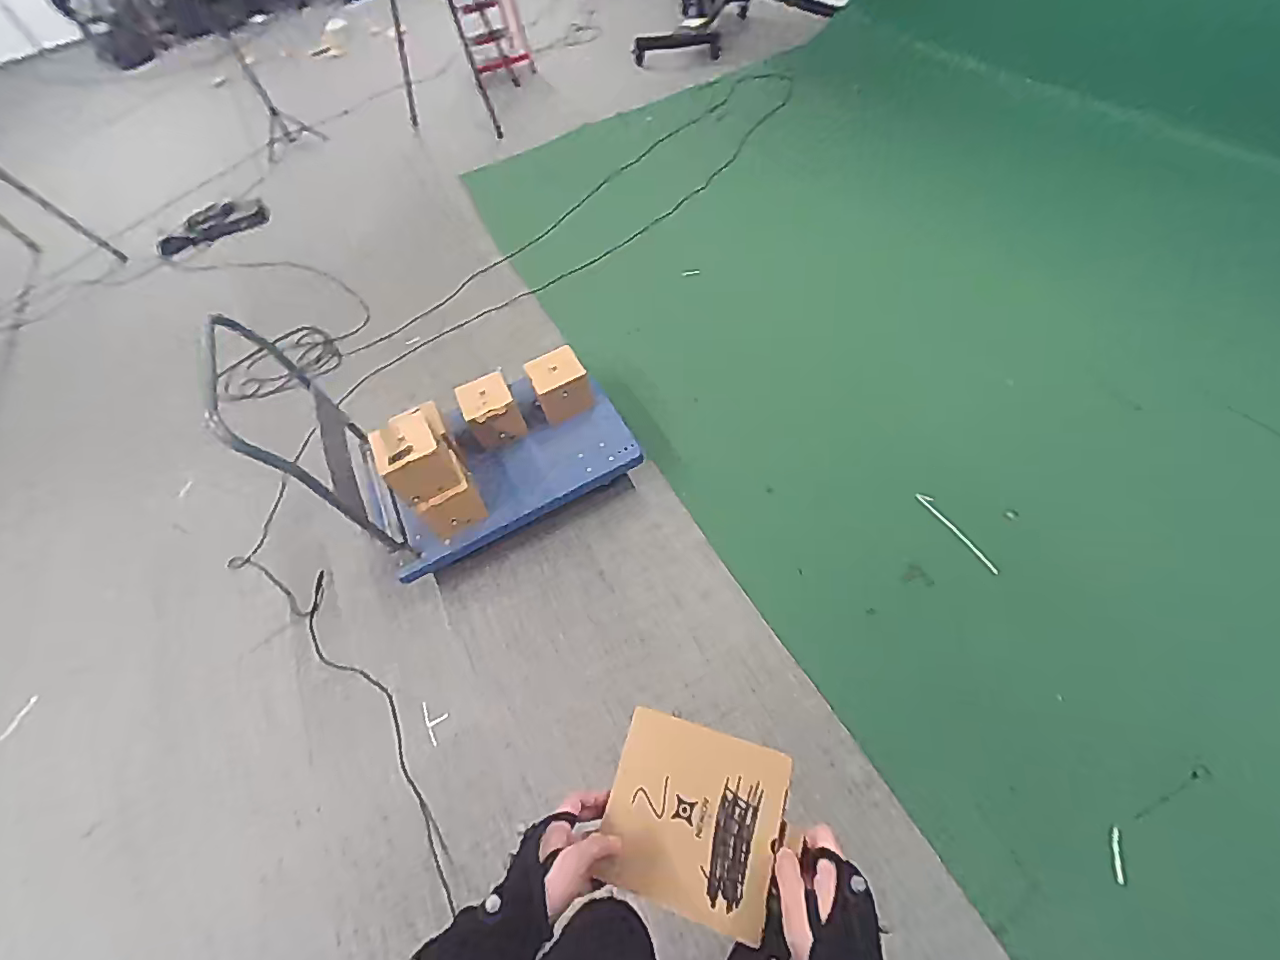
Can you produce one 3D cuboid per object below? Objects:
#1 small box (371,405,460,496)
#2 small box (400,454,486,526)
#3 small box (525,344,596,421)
[{"bbox_3d":[-0.643,-0.076,1.560,0.168,0.176,0.179,-26,55,-10],"label":"small box"},{"bbox_3d":[-0.609,0.036,1.689,0.179,0.176,0.168,-2,58,8],"label":"small box"},{"bbox_3d":[-0.271,-0.333,1.874,0.179,0.176,0.168,-26,57,-8],"label":"small box"}]
